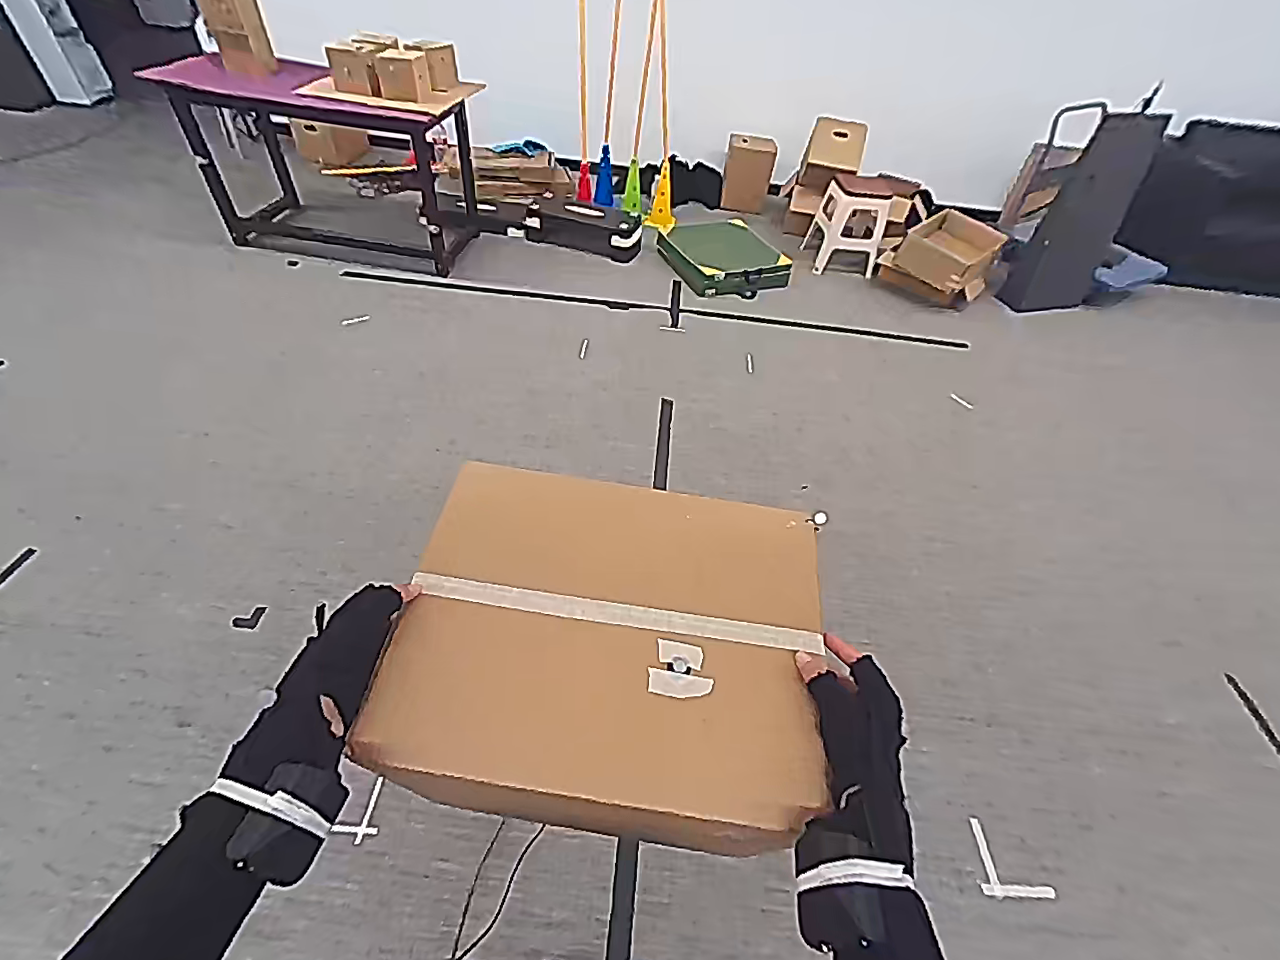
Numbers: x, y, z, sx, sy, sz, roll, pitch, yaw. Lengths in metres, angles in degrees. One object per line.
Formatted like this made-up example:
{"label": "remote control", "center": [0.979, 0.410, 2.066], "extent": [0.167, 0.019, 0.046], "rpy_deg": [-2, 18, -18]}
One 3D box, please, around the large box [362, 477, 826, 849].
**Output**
{"label": "large box", "center": [-0.035, 0.231, 0.659], "extent": [0.408, 0.320, 0.320], "rpy_deg": [9, 54, 1]}
